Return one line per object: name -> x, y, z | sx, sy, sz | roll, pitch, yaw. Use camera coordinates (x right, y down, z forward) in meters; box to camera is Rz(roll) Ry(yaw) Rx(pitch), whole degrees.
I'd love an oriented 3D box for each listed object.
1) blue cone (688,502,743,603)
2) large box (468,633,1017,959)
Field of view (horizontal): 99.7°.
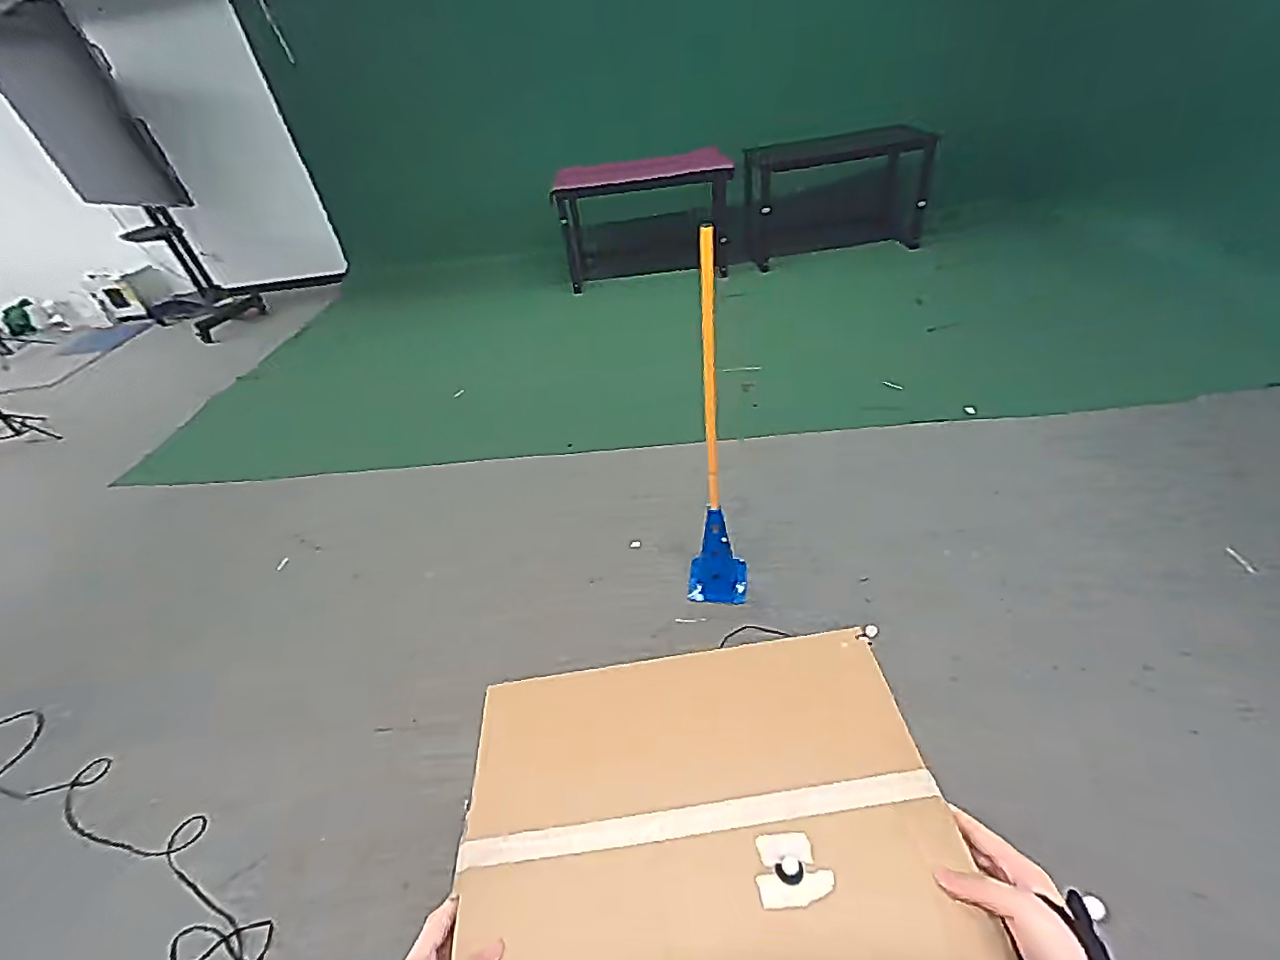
blue cone -> 0.251, 0.233, 1.831 | 0.193, 0.380, 0.192 | 2, 39, 12
large box -> 0.073, 0.405, 0.562 | 0.408, 0.320, 0.320 | -8, 41, 1
